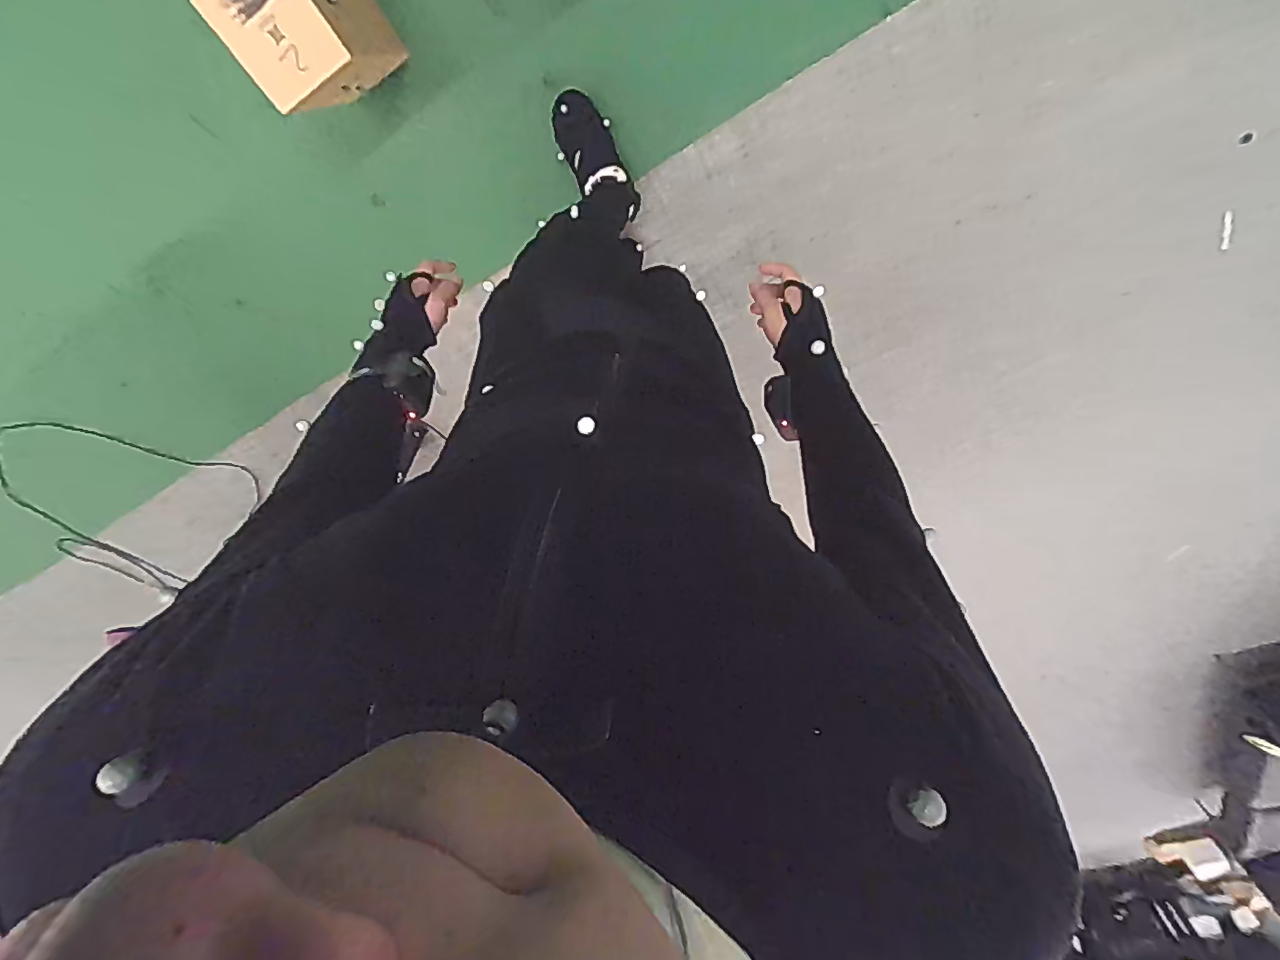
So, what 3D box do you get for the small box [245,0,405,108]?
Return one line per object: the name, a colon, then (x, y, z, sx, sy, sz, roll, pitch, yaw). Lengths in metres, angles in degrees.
small box: (-0.590, -0.862, 1.042, 0.168, 0.176, 0.179, -25, 125, 16)
